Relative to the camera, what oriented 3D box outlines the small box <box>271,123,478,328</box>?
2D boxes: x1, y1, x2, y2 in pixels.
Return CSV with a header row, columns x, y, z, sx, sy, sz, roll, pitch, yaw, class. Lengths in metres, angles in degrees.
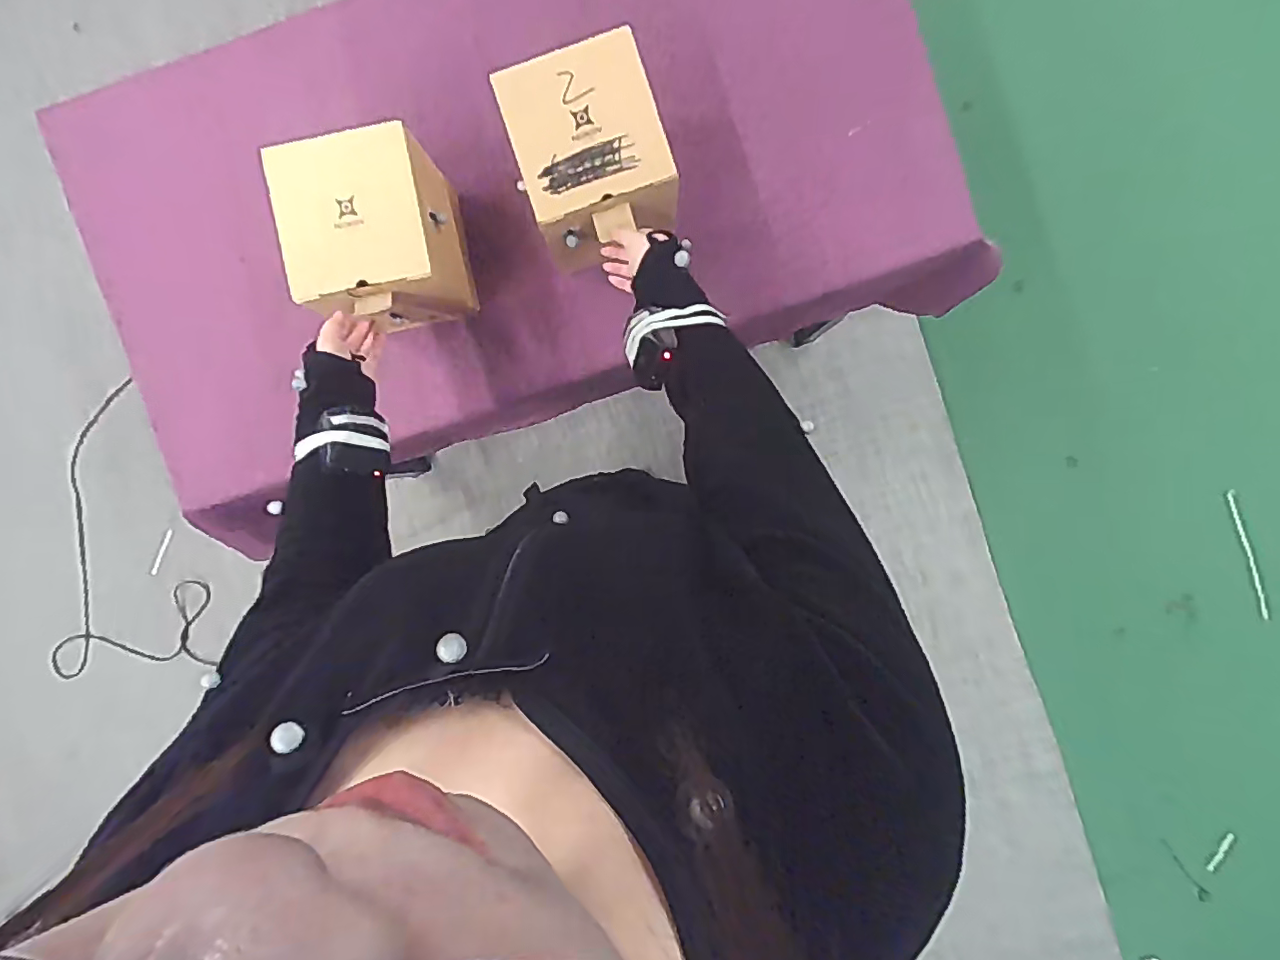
x,y,z,sx,sy,sz,roll,pitch,yaw,class
-0.328,-0.314,0.702,0.168,0.176,0.179,-10,93,2,small box
